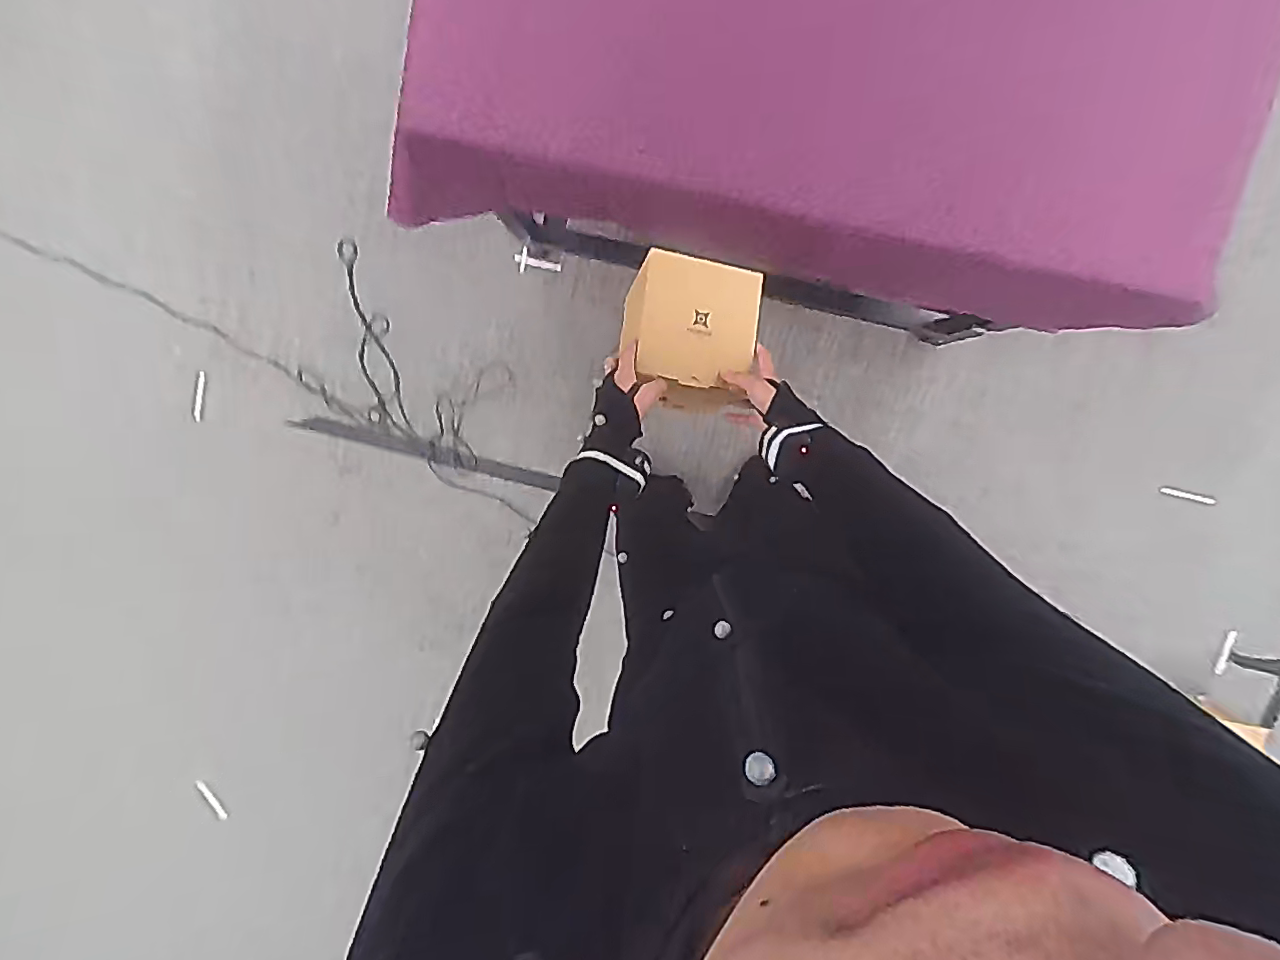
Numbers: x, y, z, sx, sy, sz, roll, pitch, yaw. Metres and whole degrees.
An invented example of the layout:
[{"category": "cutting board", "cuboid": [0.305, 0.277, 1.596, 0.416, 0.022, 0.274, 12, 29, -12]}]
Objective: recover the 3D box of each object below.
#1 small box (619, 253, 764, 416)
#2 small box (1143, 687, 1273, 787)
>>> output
[{"category": "small box", "cuboid": [0.069, -0.205, 0.814, 0.168, 0.176, 0.179, 8, 86, -11]}, {"category": "small box", "cuboid": [1.591, 0.721, 1.529, 0.168, 0.176, 0.179, 11, 98, 1]}]
